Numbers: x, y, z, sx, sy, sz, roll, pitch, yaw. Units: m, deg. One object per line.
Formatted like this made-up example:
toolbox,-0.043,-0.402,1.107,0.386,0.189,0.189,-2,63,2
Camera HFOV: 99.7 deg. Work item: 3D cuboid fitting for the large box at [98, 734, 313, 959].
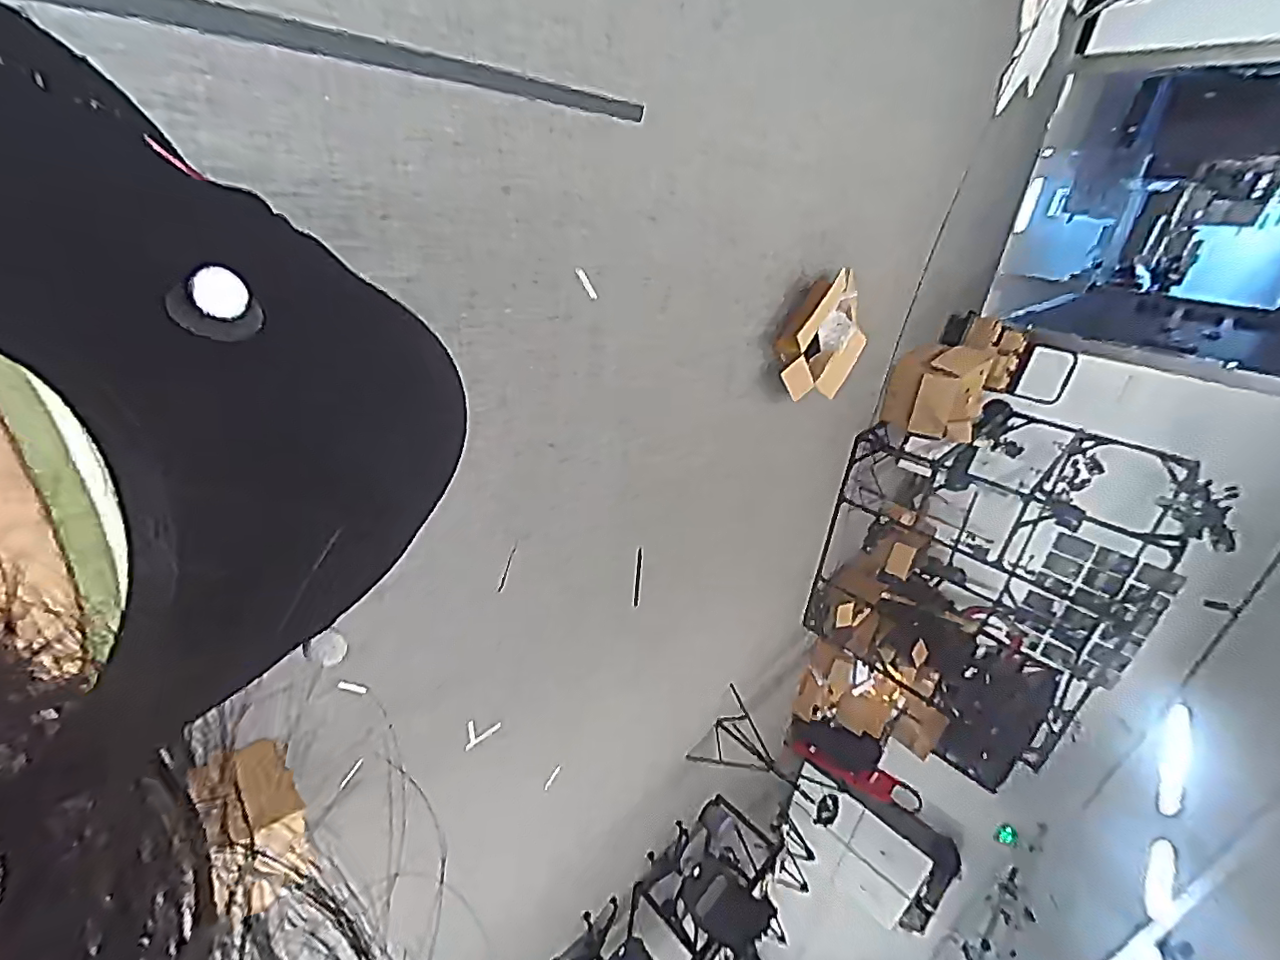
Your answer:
large box,-1.200,1.014,1.519,0.408,0.320,0.320,-14,123,-46
